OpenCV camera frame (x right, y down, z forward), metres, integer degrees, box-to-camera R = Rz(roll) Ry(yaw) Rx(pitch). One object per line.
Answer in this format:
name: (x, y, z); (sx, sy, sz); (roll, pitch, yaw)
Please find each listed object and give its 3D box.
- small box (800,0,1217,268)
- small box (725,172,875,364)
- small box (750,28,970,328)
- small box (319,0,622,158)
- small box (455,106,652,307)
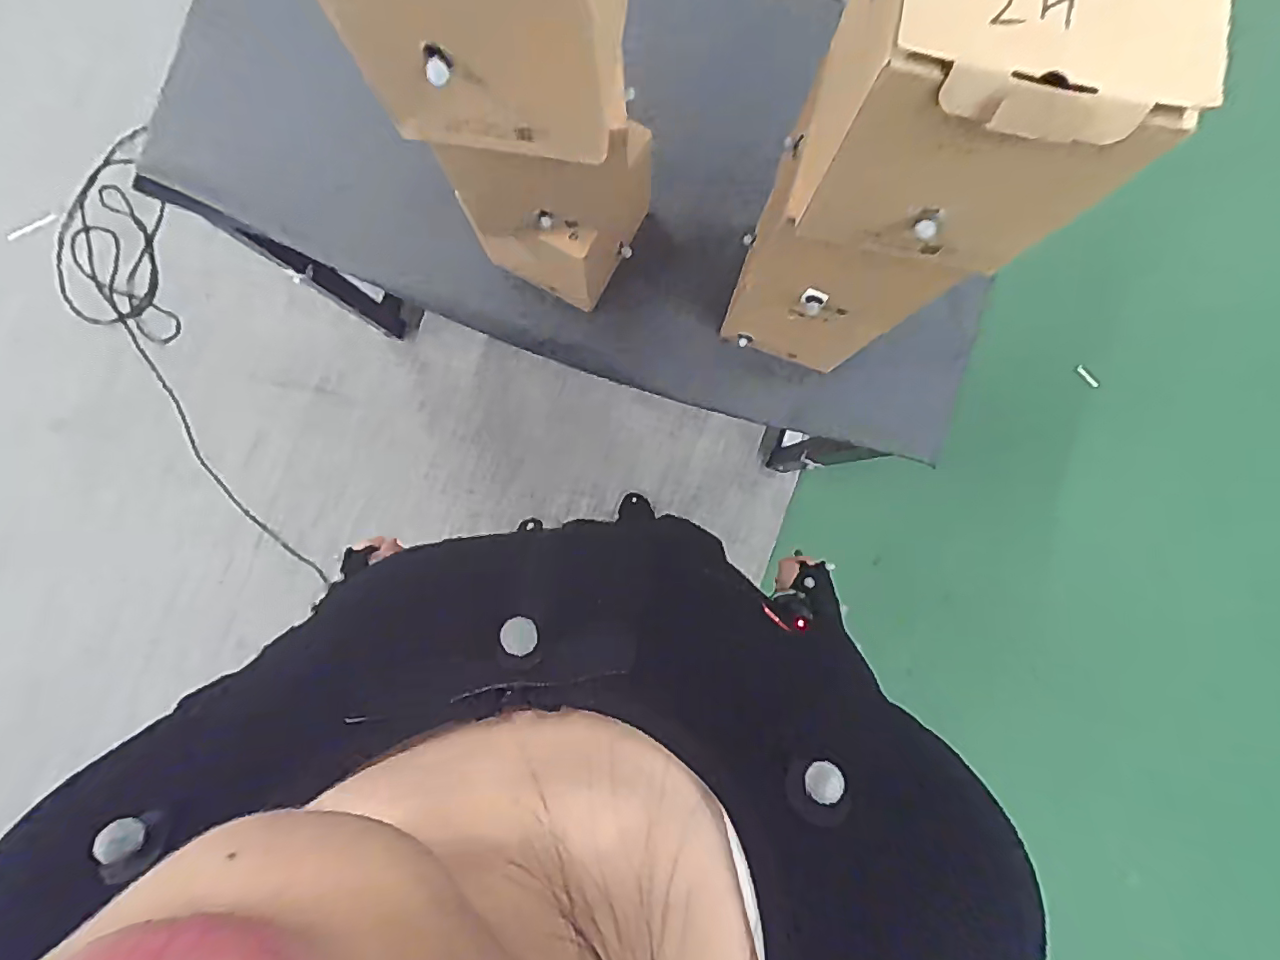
small box: (0.221, -0.275, 0.363); (0.168, 0.176, 0.179); (12, 86, 1)
small box: (0.216, -0.268, 0.691); (0.168, 0.176, 0.179); (19, 85, 0)
small box: (0.218, -0.274, 0.529); (0.168, 0.176, 0.179); (15, 87, 1)
small box: (-0.100, -0.352, 0.360); (0.168, 0.176, 0.179); (7, 88, -1)
small box: (-0.101, -0.356, 0.688); (0.168, 0.176, 0.179); (28, 86, 0)
